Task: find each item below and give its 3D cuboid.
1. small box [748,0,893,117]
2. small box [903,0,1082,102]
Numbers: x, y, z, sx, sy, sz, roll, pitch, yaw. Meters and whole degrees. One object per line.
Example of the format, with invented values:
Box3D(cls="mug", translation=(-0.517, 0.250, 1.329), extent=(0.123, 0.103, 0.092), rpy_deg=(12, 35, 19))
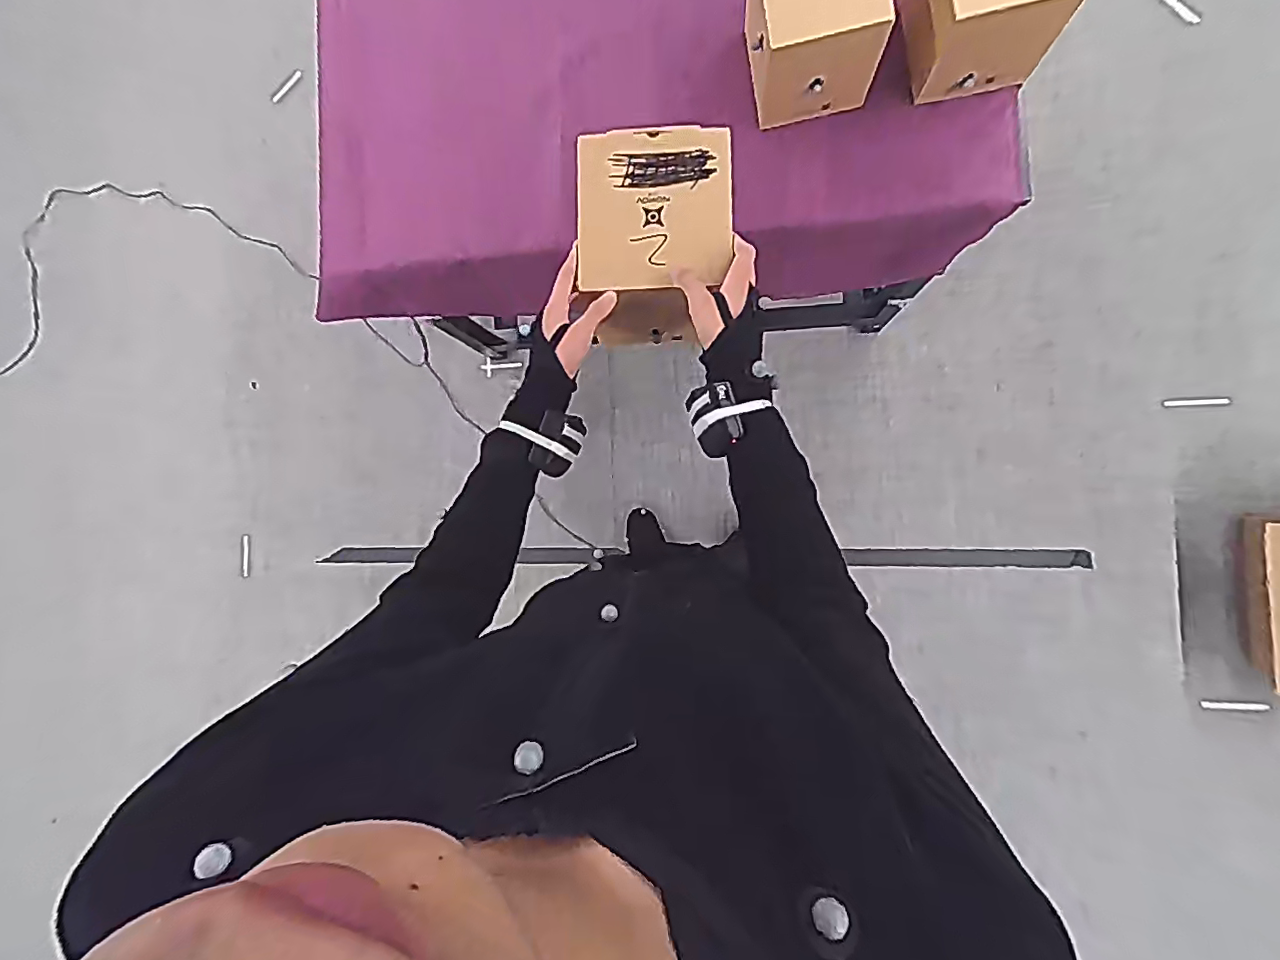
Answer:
Box3D(cls="small box", translation=(0.257, -0.681, 0.806), extent=(0.168, 0.176, 0.179), rpy_deg=(-8, 87, 8))
Box3D(cls="small box", translation=(0.493, -0.694, 0.773), extent=(0.168, 0.176, 0.179), rpy_deg=(-6, 87, 9))
